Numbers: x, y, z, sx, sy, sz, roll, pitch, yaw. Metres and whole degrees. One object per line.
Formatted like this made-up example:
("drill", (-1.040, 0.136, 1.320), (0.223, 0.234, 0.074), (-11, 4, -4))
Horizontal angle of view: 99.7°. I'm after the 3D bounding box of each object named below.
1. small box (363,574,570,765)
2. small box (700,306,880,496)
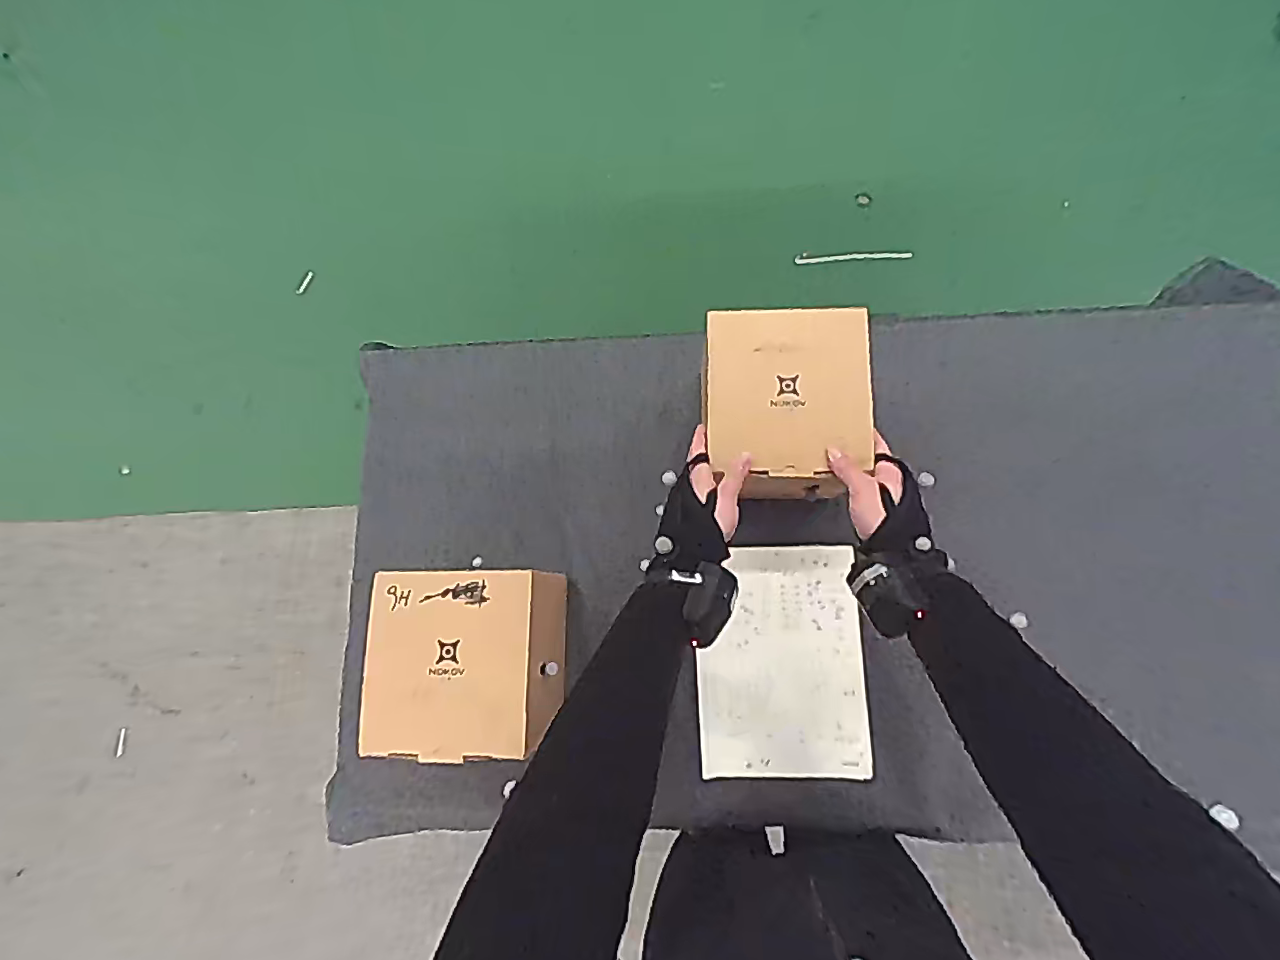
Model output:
("small box", (-0.177, 0.196, 0.605), (0.168, 0.176, 0.179), (-1, 79, 5))
("small box", (0.156, -0.076, 0.612), (0.168, 0.176, 0.179), (-1, 80, 4))
